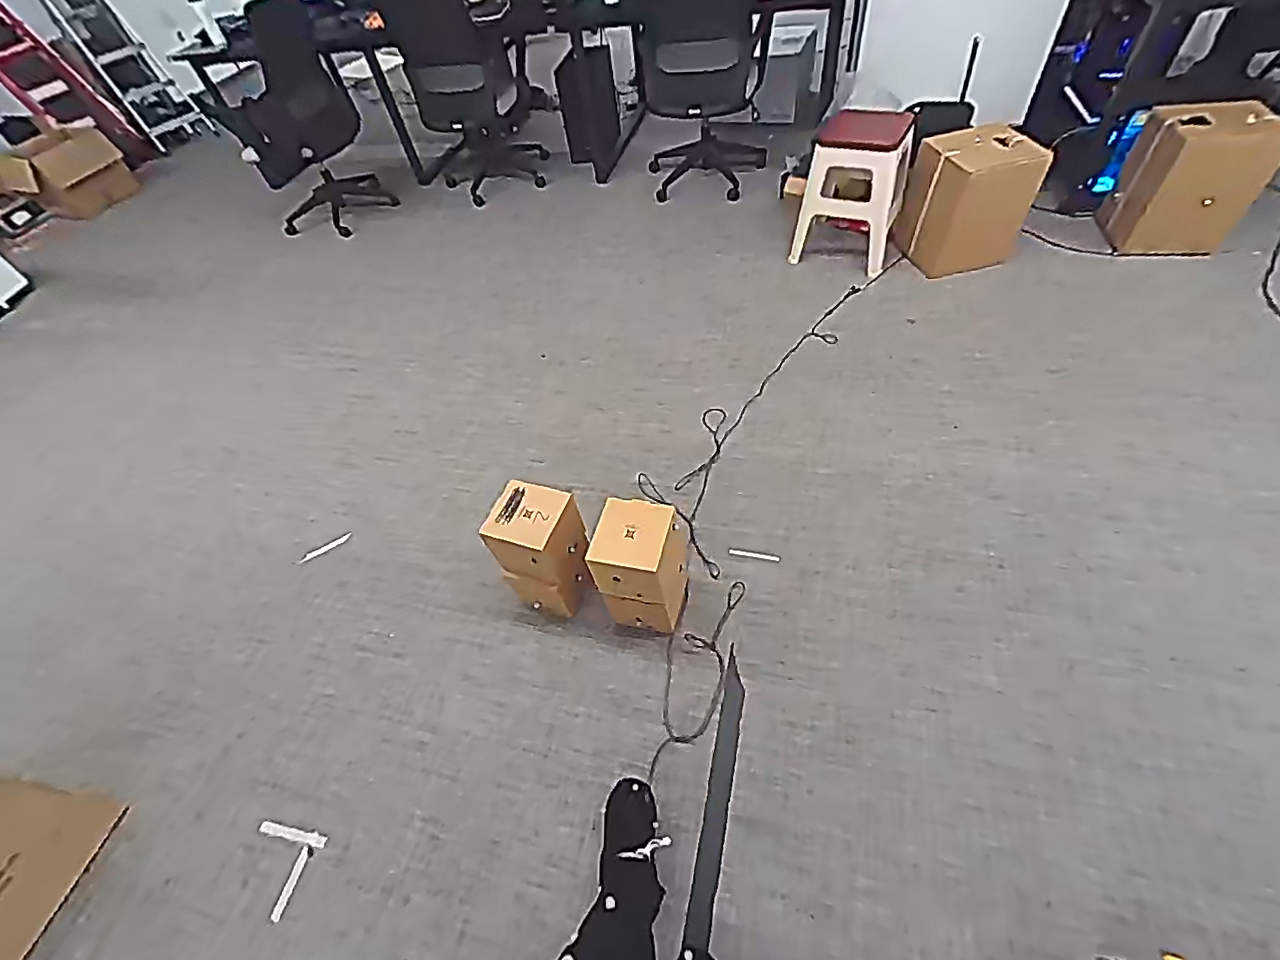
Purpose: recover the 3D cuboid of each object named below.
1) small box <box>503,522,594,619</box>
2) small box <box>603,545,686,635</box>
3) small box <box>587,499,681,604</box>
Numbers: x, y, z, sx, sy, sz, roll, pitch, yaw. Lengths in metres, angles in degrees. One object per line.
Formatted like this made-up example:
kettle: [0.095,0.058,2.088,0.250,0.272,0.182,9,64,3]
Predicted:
small box: [-0.235,0.244,1.454,0.168,0.176,0.179,12,56,19]
small box: [0.020,0.271,1.388,0.168,0.176,0.179,7,54,17]
small box: [-0.005,0.169,1.264,0.168,0.176,0.179,7,52,16]
